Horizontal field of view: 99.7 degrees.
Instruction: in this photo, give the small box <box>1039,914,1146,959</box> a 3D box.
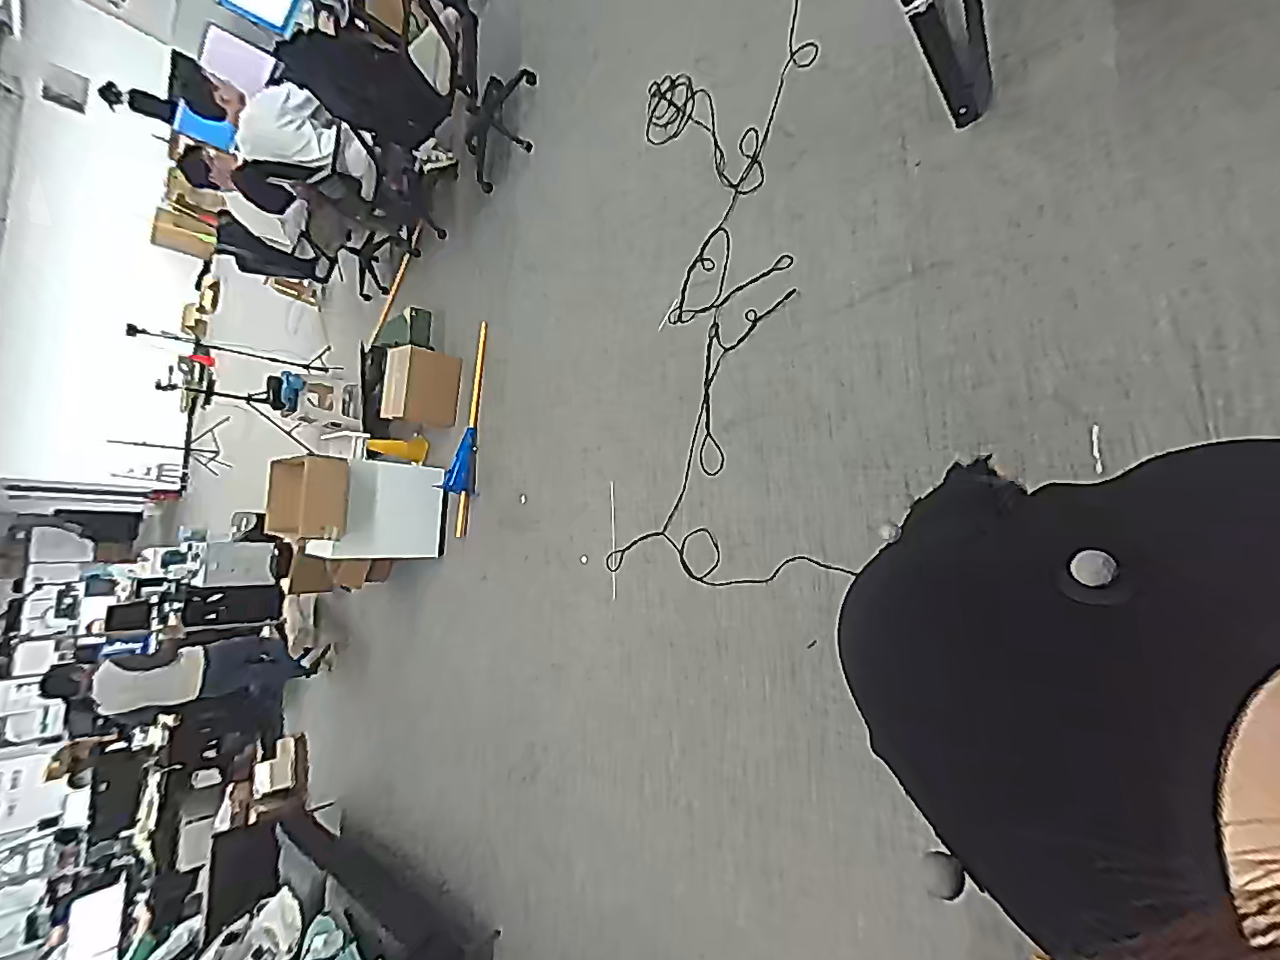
[{"bbox_3d":[0.896,1.023,1.064,0.168,0.176,0.179,1,85,43],"label":"small box"}]
